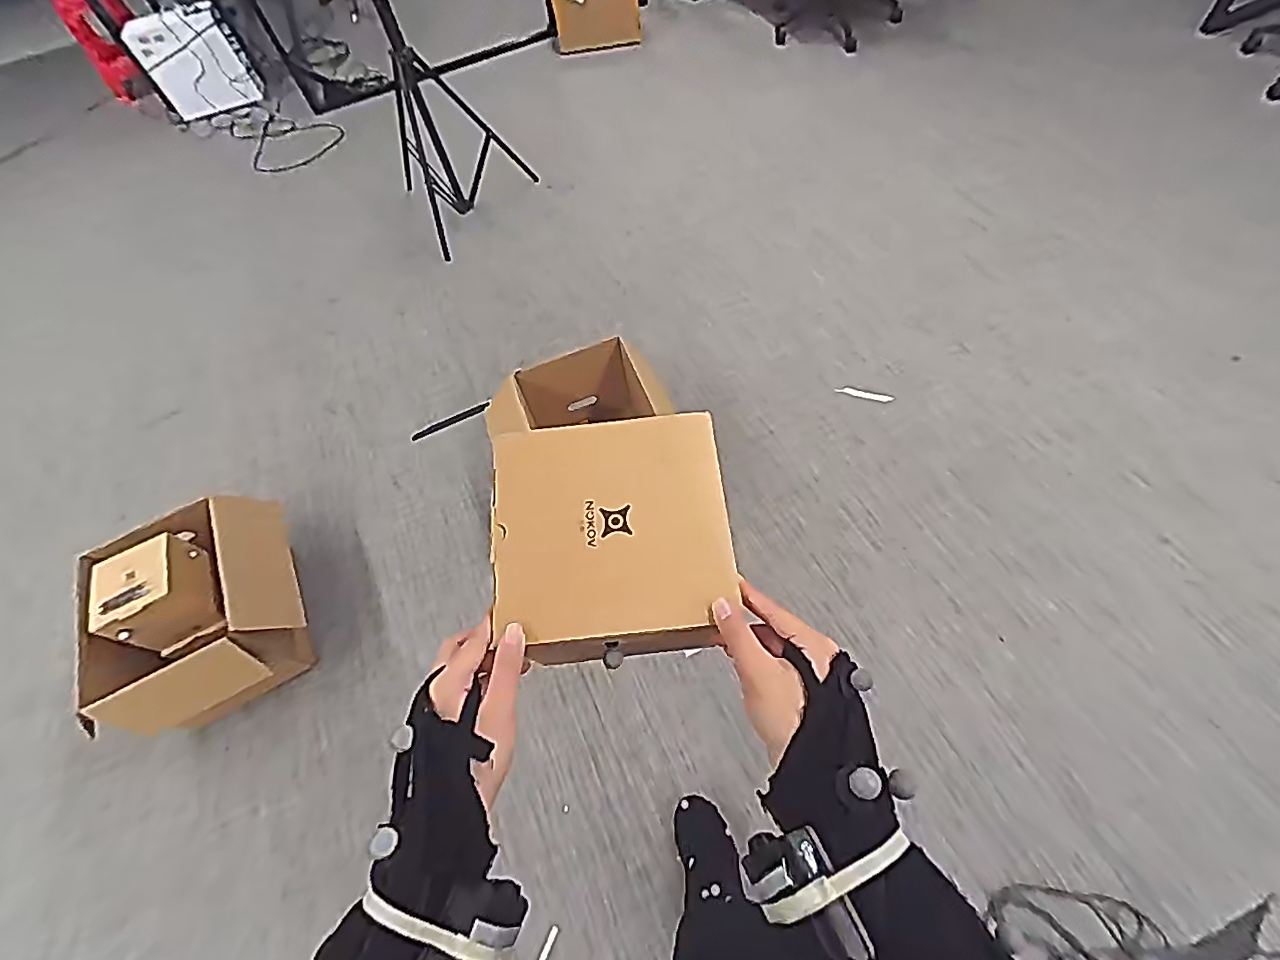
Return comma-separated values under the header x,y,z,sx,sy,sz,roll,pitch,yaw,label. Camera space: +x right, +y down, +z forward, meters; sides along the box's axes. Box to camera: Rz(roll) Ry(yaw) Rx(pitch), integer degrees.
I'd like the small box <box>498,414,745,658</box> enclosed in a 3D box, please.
x,y,z,sx,sy,sz,roll,pitch,yaw,label
-0.018,0.060,0.479,0.179,0.176,0.168,-6,67,0,small box
